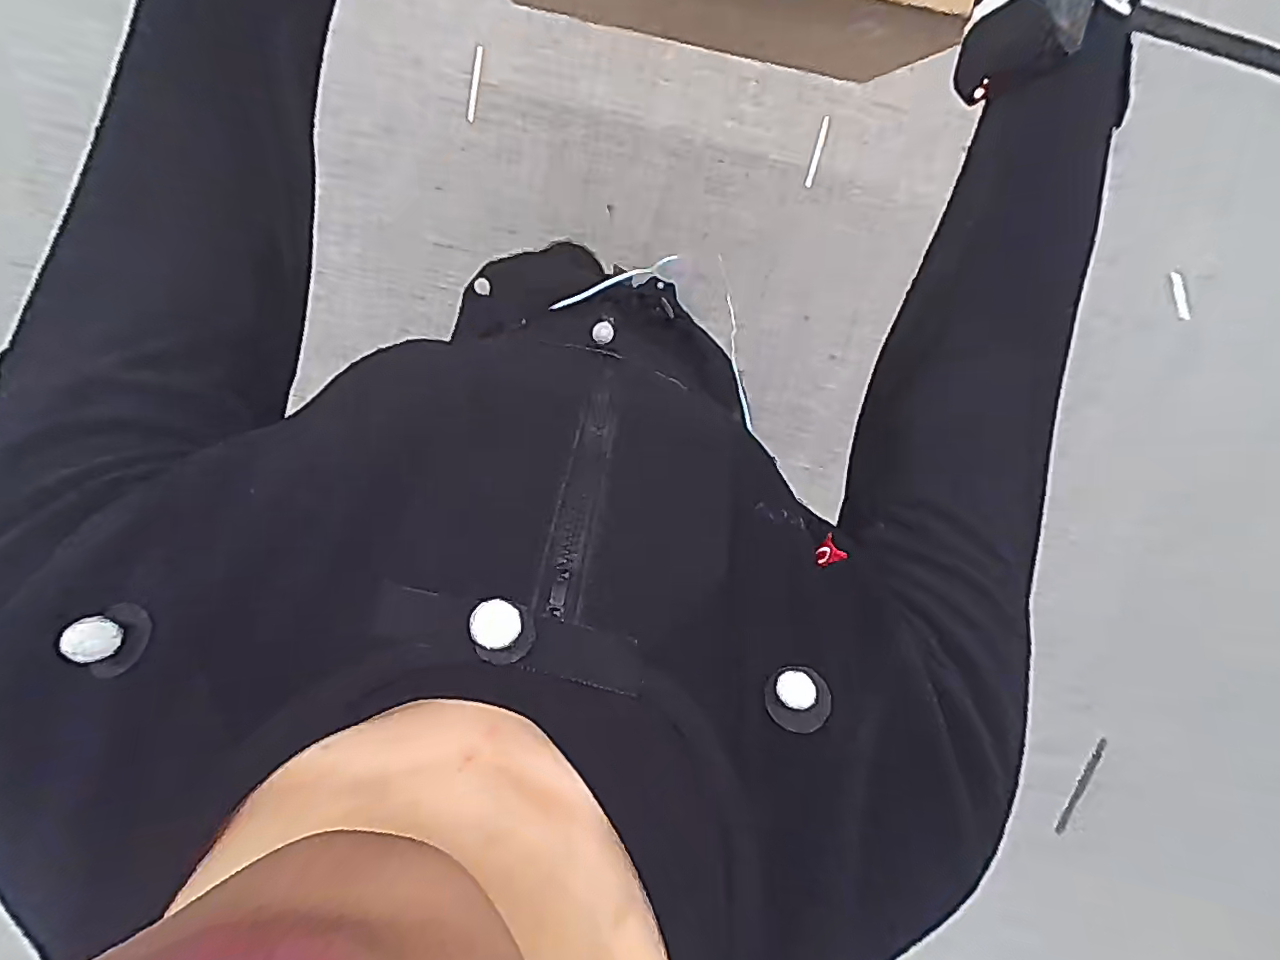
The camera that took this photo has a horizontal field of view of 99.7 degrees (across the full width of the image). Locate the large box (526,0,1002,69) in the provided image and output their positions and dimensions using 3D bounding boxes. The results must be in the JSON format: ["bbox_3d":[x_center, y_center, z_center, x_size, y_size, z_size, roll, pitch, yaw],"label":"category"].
[{"bbox_3d":[0.078,-0.547,0.398,0.408,0.320,0.320,11,122,-3],"label":"large box"}]
